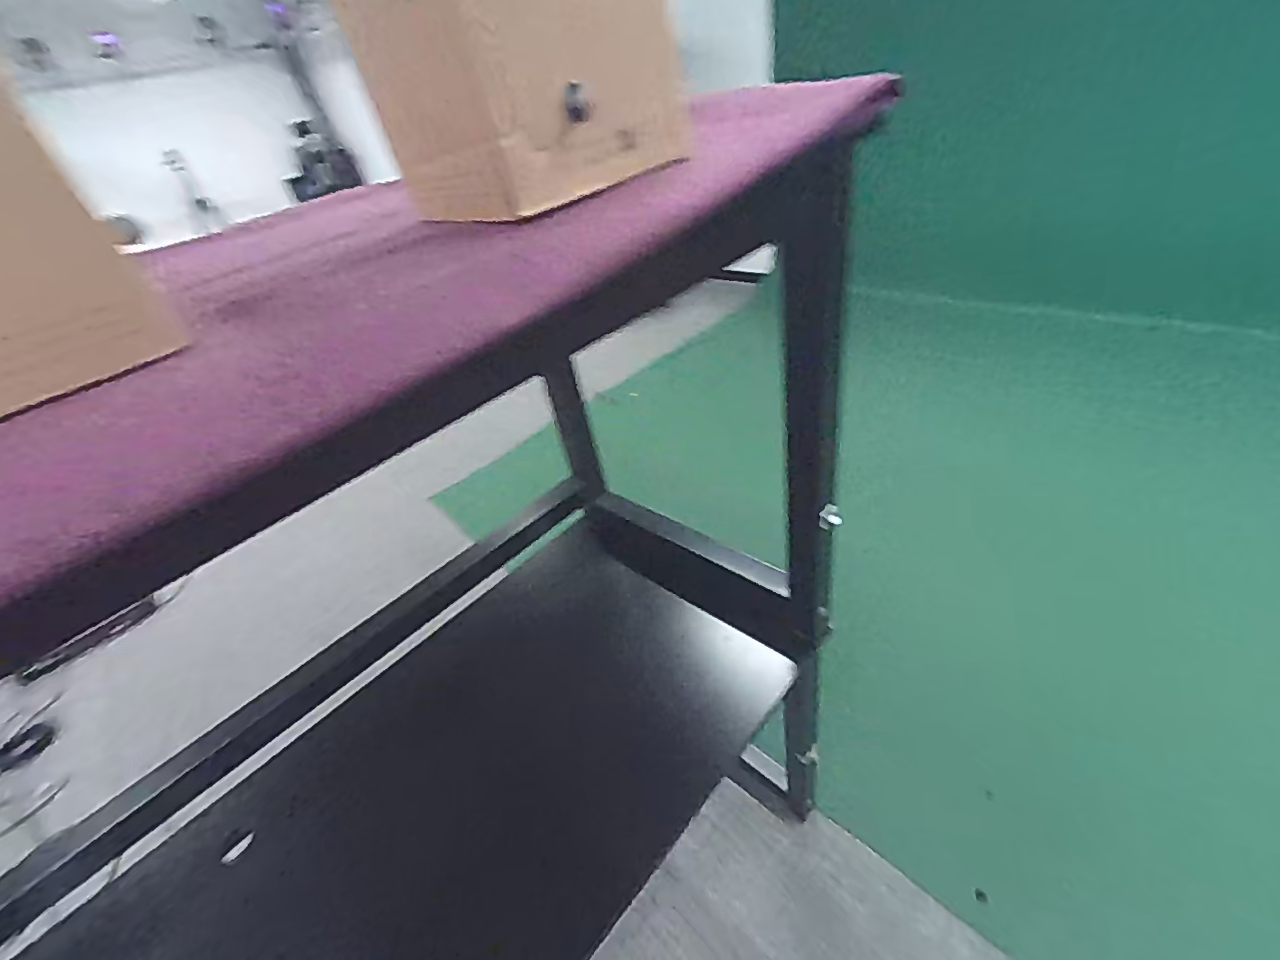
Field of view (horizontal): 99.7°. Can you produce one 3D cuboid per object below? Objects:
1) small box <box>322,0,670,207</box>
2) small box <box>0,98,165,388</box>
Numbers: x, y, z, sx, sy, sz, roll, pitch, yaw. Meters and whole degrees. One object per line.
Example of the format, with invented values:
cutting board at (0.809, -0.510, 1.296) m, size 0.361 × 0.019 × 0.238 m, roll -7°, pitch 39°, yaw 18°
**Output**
small box at (-0.103, -0.308, 0.390) m, size 0.168 × 0.176 × 0.179 m, roll -38°, pitch 42°, yaw -27°
small box at (-0.352, -0.113, 0.217) m, size 0.168 × 0.176 × 0.179 m, roll 24°, pitch 50°, yaw 40°
